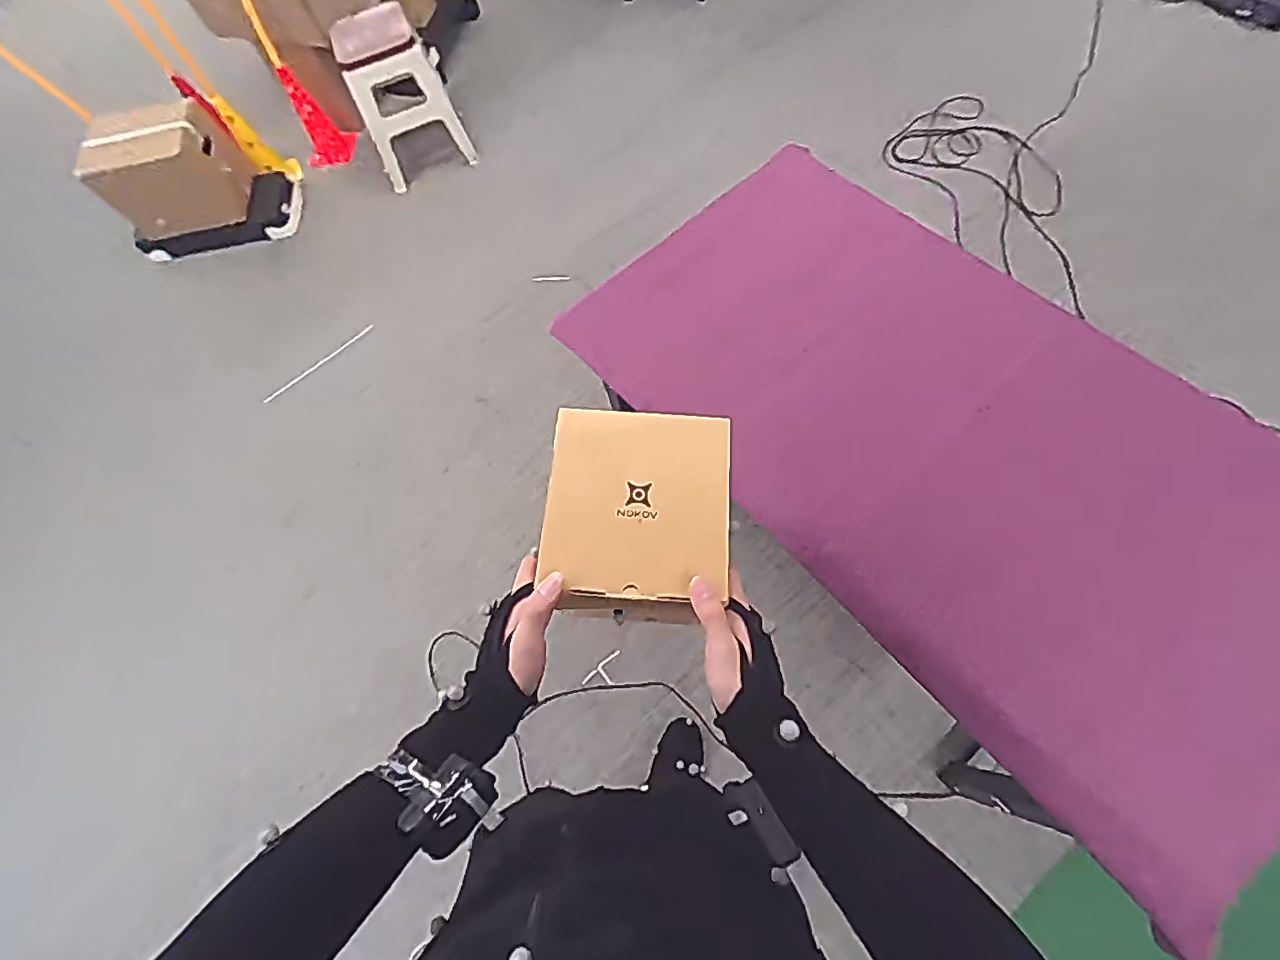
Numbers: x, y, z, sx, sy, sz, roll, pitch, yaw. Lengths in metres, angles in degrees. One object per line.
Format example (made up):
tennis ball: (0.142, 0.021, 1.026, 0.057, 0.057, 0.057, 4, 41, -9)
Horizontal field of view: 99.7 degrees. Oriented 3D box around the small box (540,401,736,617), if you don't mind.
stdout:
small box: (0.000, 0.039, 0.560, 0.168, 0.176, 0.179, 5, 71, 1)
